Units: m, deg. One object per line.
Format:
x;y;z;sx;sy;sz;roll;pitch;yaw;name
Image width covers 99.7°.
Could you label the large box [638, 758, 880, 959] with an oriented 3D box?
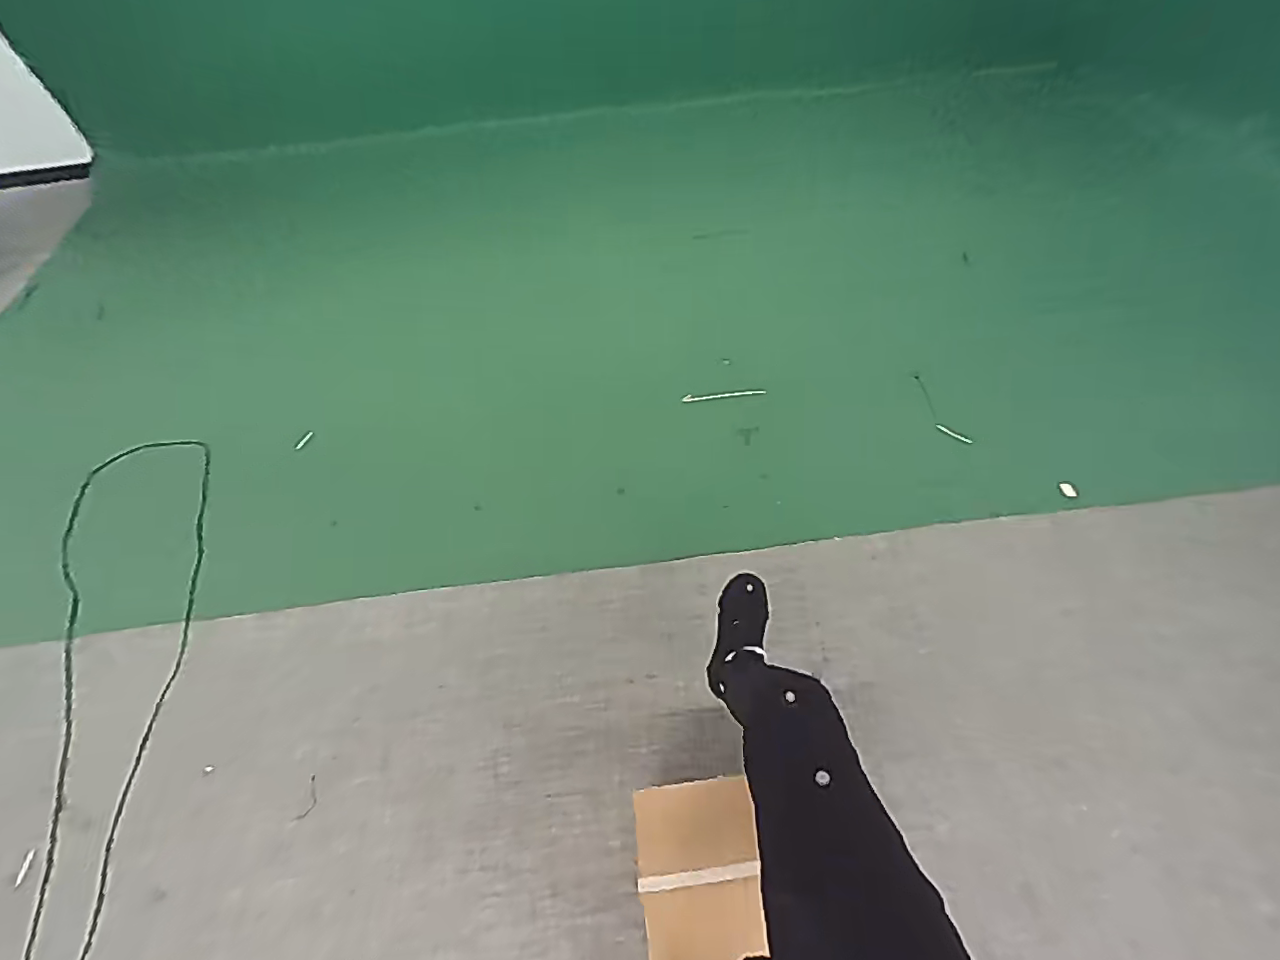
0.221;0.824;1.159;0.408;0.320;0.320;-8;56;-2;large box
